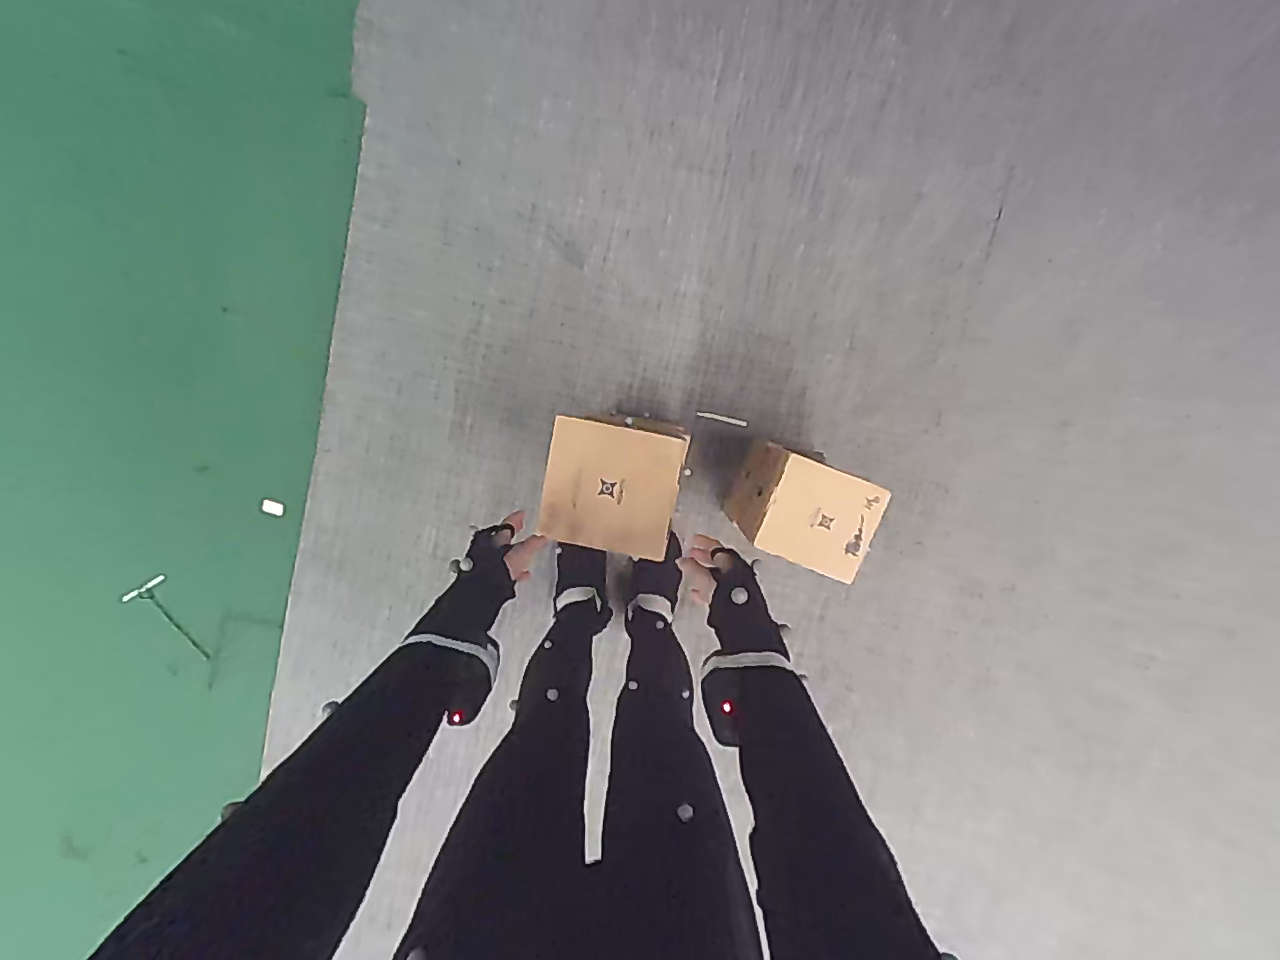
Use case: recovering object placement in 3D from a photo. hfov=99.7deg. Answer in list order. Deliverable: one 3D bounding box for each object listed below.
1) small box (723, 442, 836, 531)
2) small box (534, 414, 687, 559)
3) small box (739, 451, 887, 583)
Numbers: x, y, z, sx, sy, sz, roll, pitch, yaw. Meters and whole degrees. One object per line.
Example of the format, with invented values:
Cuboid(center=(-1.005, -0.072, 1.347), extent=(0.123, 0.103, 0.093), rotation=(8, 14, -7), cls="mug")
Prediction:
Cuboid(center=(0.280, 0.030, 1.107), extent=(0.168, 0.176, 0.179), rotation=(22, 97, 0), cls="small box")
Cuboid(center=(-0.035, 0.001, 0.786), extent=(0.179, 0.176, 0.168), rotation=(12, 95, 2), cls="small box")
Cuboid(center=(0.286, 0.054, 0.944), extent=(0.179, 0.176, 0.168), rotation=(22, 97, 1), cls="small box")
